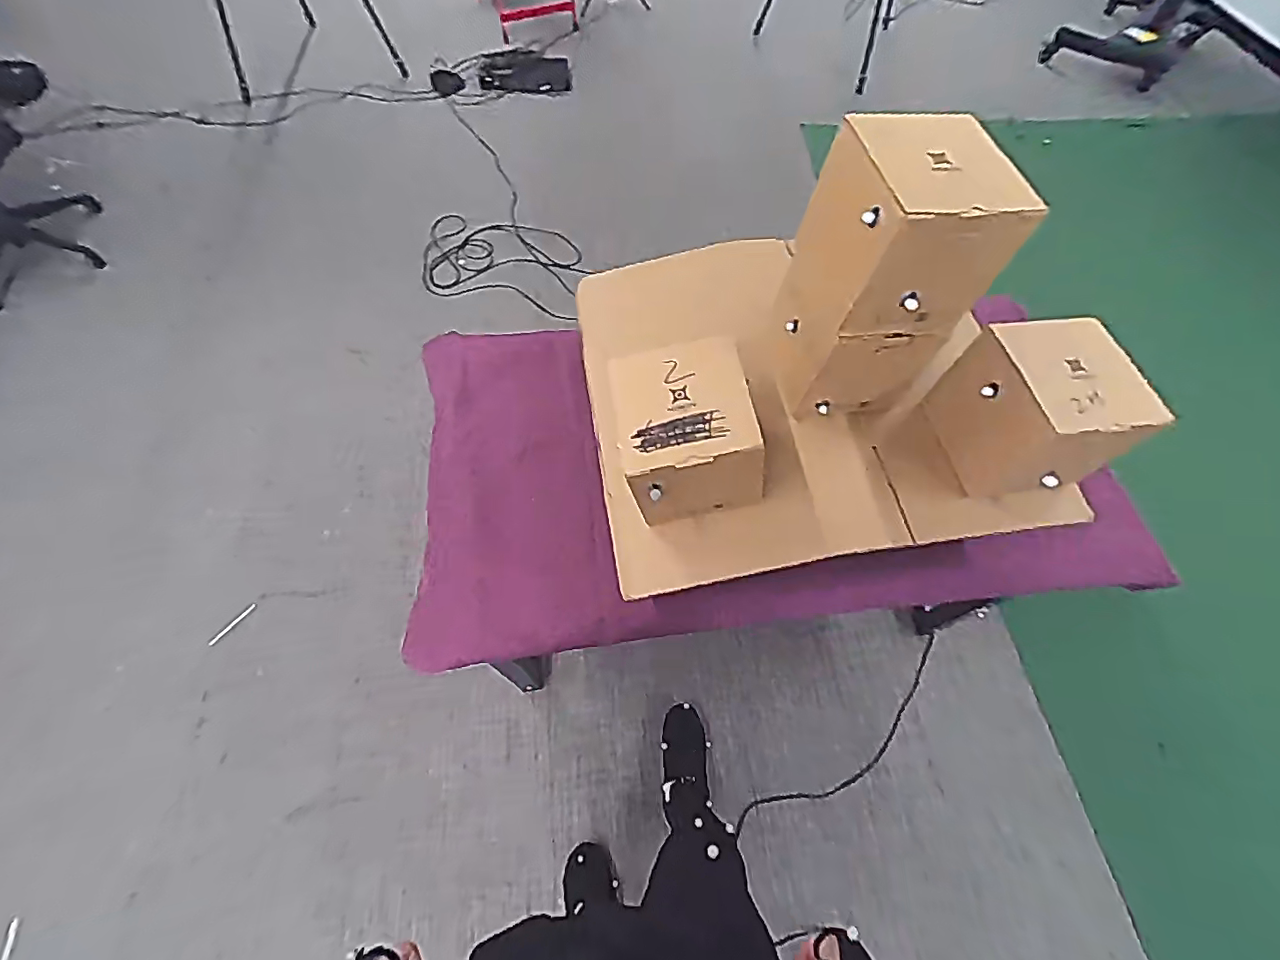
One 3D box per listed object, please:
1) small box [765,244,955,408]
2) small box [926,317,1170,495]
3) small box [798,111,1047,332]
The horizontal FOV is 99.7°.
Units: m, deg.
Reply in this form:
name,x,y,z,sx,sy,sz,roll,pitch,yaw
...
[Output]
name,x,y,z,sx,sy,sz,roll,pitch,yaw
small box,0.300,-0.217,0.781,0.168,0.176,0.179,-6,61,-10
small box,0.535,-0.099,0.742,0.168,0.176,0.179,-6,62,-9
small box,0.312,-0.301,0.643,0.168,0.176,0.179,-7,63,-11
